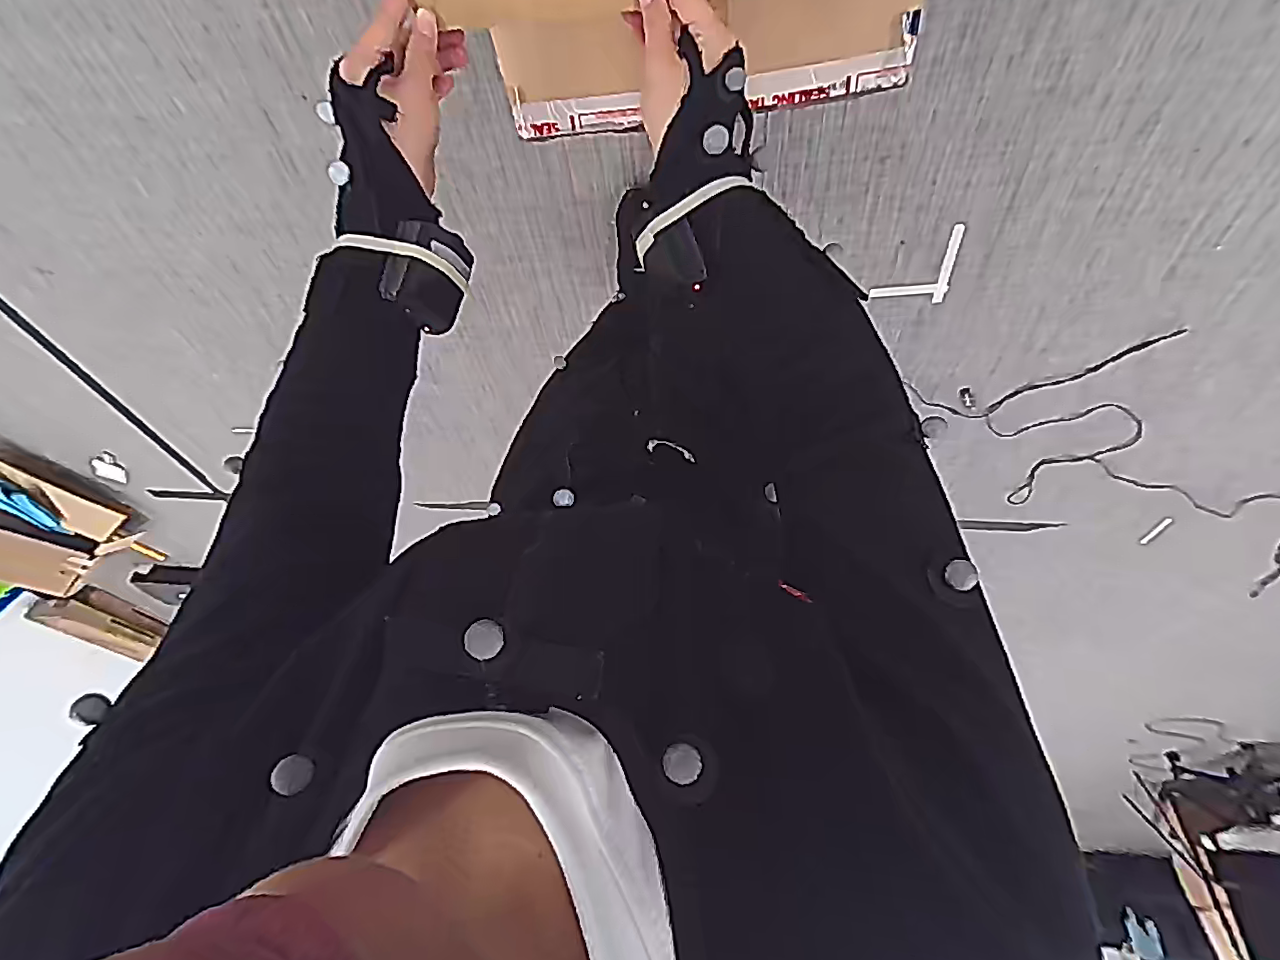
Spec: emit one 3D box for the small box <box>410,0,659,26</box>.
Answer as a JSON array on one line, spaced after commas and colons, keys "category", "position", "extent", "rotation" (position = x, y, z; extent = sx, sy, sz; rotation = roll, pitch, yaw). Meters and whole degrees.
[{"category": "small box", "position": [-0.072, -0.424, 0.339], "extent": [0.168, 0.176, 0.179], "rotation": [-1, 143, 6]}]
